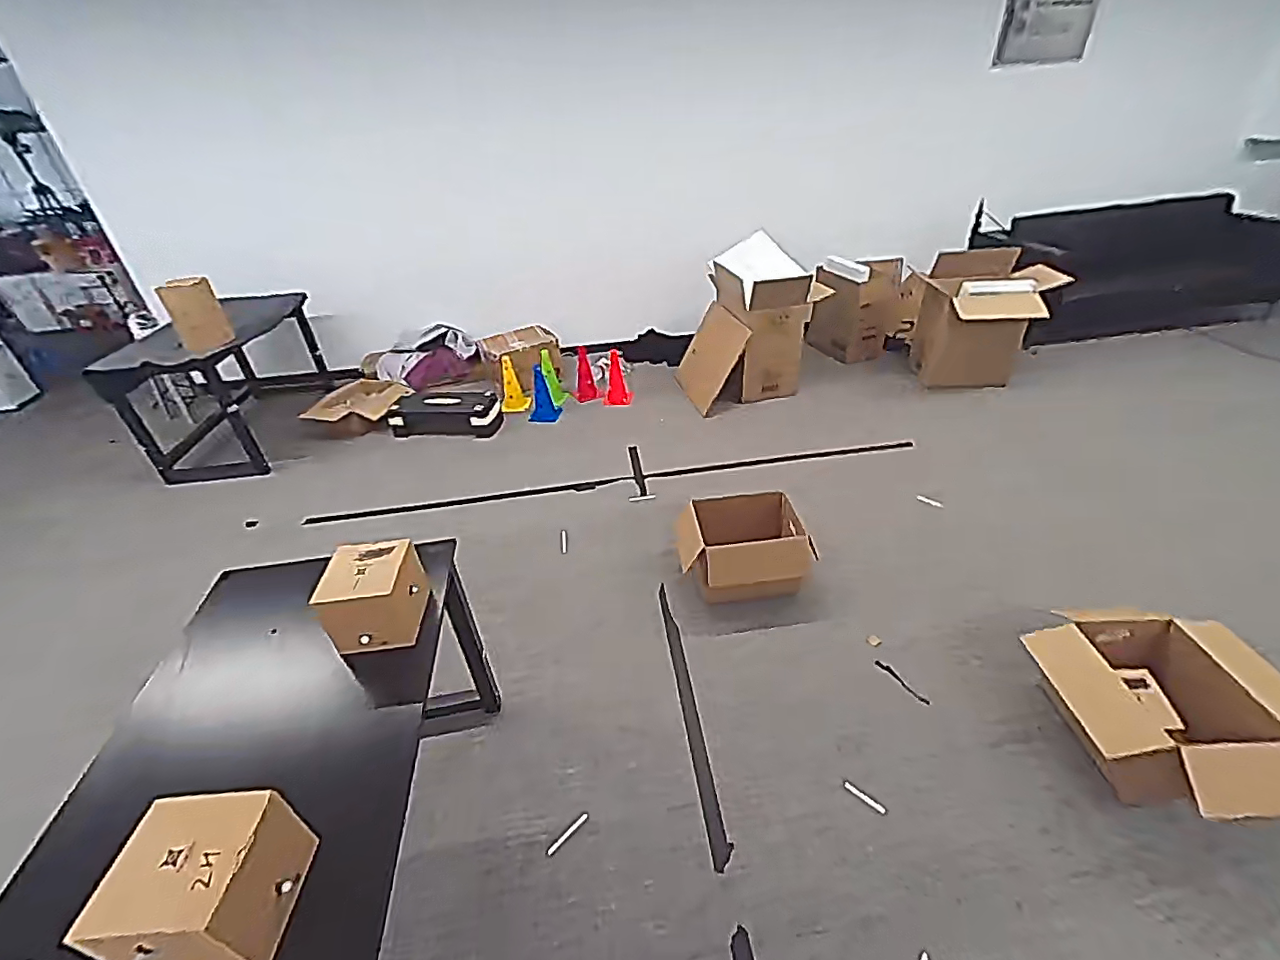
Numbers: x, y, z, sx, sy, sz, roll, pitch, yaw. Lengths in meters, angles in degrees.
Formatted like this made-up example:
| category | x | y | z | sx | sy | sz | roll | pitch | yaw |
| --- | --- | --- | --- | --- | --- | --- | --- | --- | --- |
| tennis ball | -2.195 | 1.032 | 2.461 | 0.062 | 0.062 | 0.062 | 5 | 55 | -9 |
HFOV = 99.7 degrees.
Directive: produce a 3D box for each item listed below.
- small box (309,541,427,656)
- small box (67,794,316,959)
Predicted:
| category | x | y | z | sx | sy | sz | roll | pitch | yaw |
| --- | --- | --- | --- | --- | --- | --- | --- | --- | --- |
| small box | -0.591 | 0.262 | 1.205 | 0.168 | 0.176 | 0.179 | -7 | 36 | -3 |
| small box | -0.603 | 0.572 | 0.759 | 0.179 | 0.176 | 0.168 | -4 | 35 | 0 |
